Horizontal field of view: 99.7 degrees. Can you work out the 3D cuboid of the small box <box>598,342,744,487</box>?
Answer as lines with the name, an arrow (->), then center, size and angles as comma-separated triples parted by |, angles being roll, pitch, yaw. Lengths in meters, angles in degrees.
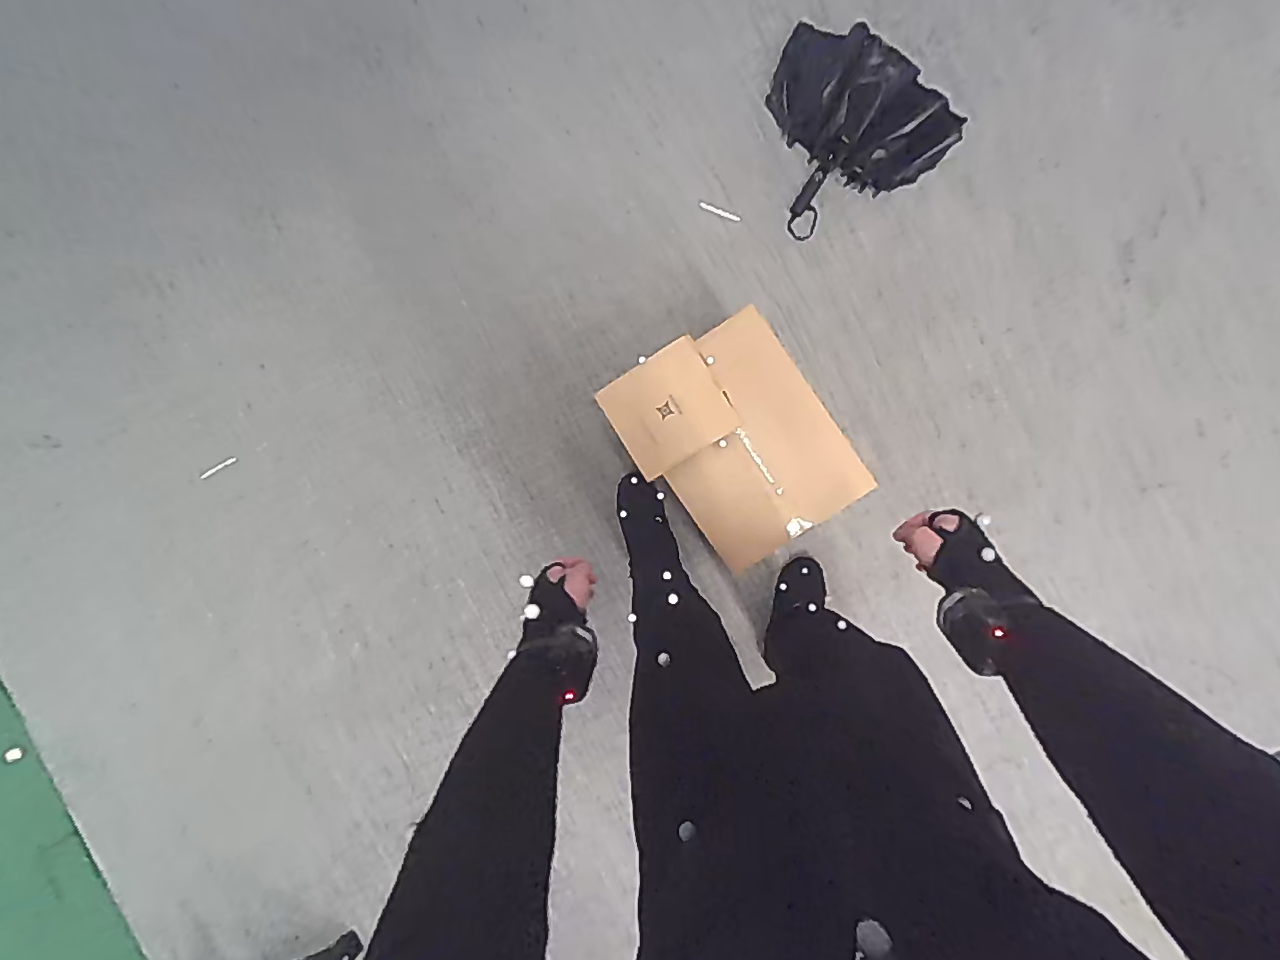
small box -> 0.057, -0.108, 0.915 | 0.179, 0.176, 0.168 | -32, 89, 11
